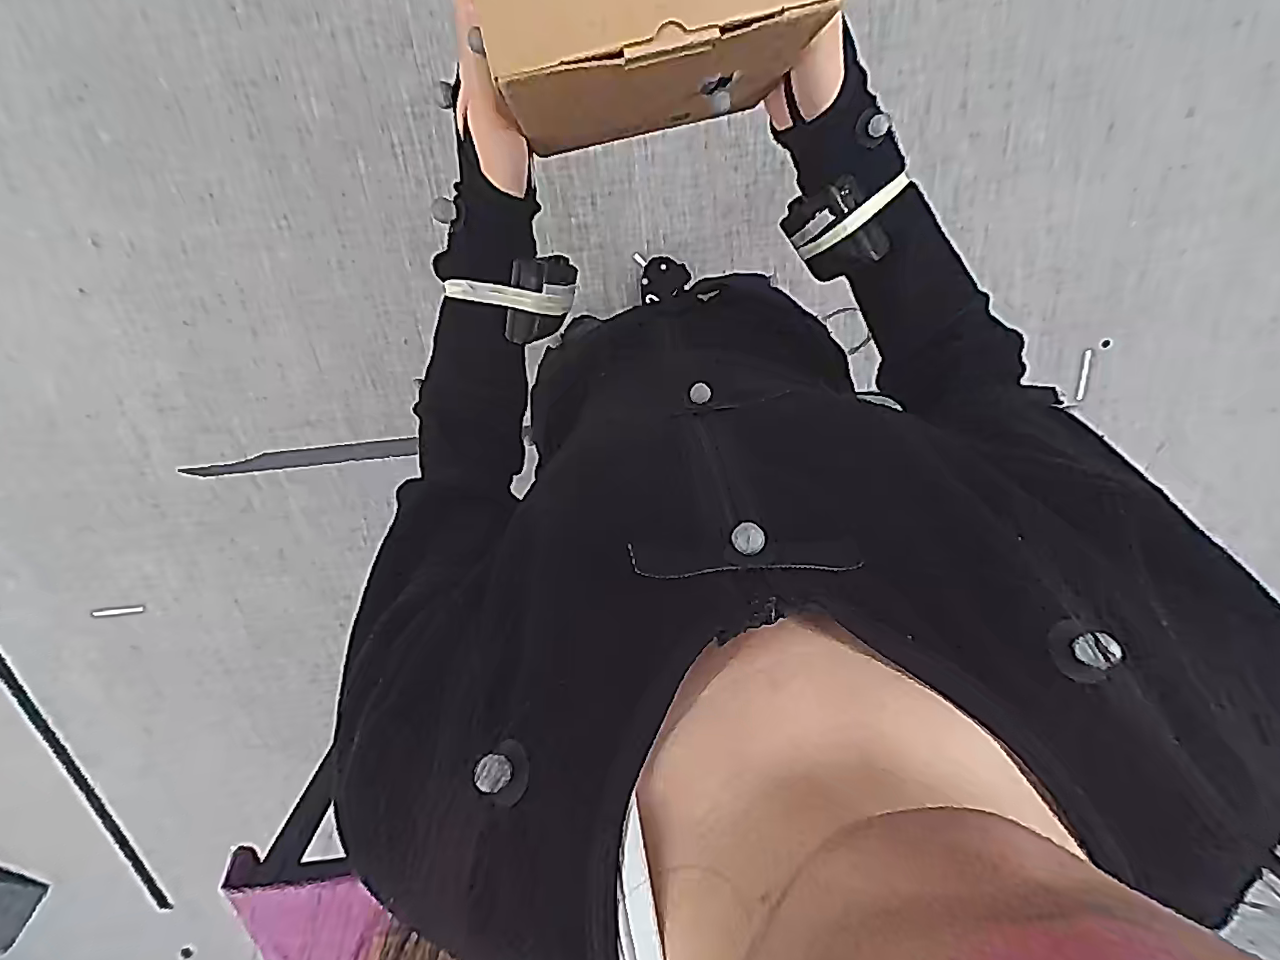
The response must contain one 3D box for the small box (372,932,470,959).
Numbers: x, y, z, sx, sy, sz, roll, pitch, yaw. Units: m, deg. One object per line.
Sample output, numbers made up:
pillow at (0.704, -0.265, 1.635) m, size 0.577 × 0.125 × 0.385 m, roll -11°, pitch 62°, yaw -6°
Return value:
small box at (-0.437, 1.017, 1.040) m, size 0.179 × 0.176 × 0.168 m, roll -5°, pitch 112°, yaw -1°
